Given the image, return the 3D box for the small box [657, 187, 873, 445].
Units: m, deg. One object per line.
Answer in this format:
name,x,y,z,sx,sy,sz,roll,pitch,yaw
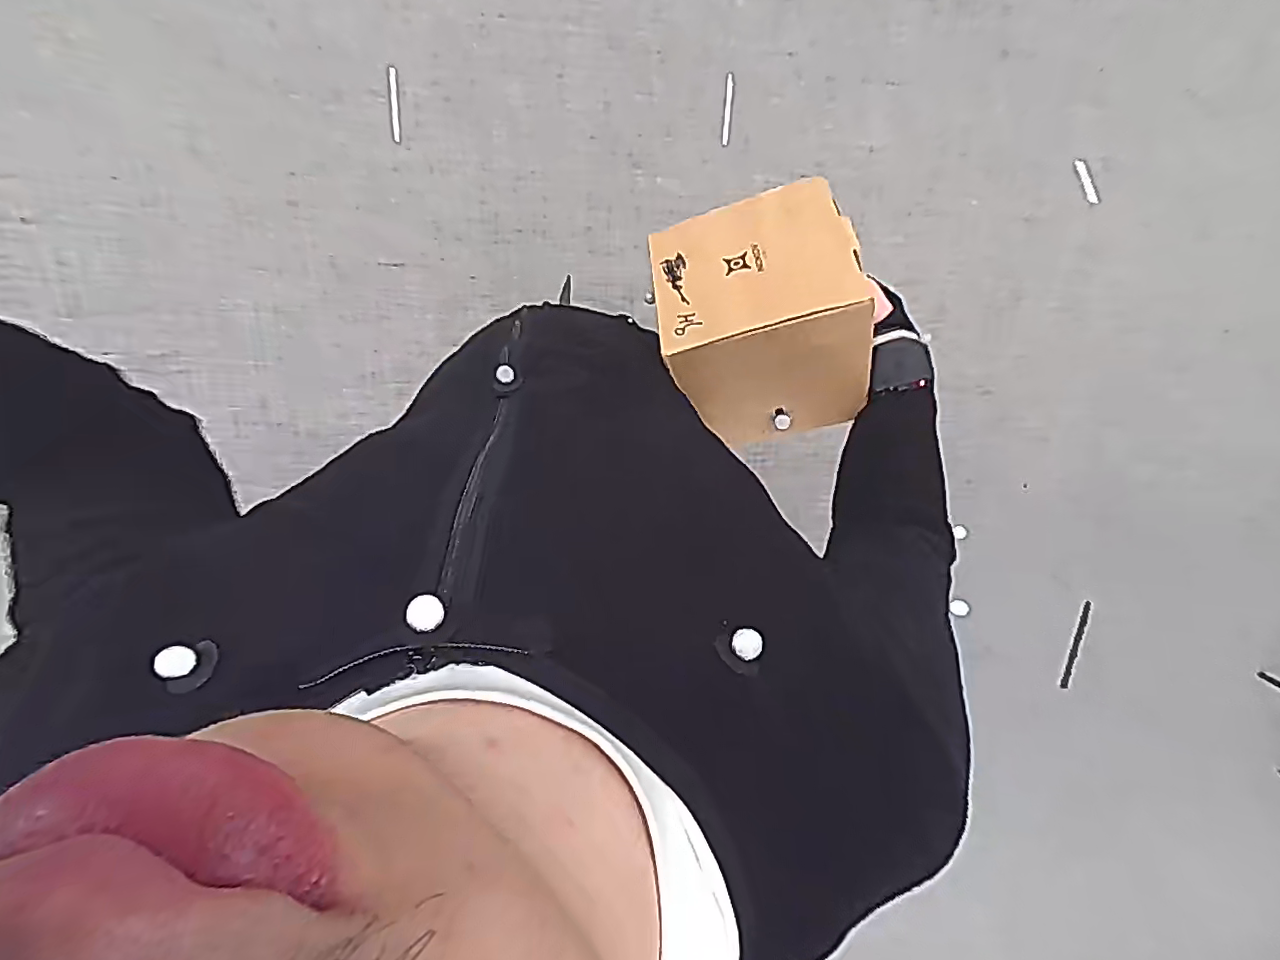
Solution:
small box,0.127,-0.160,0.568,0.179,0.168,0.176,-12,148,13
